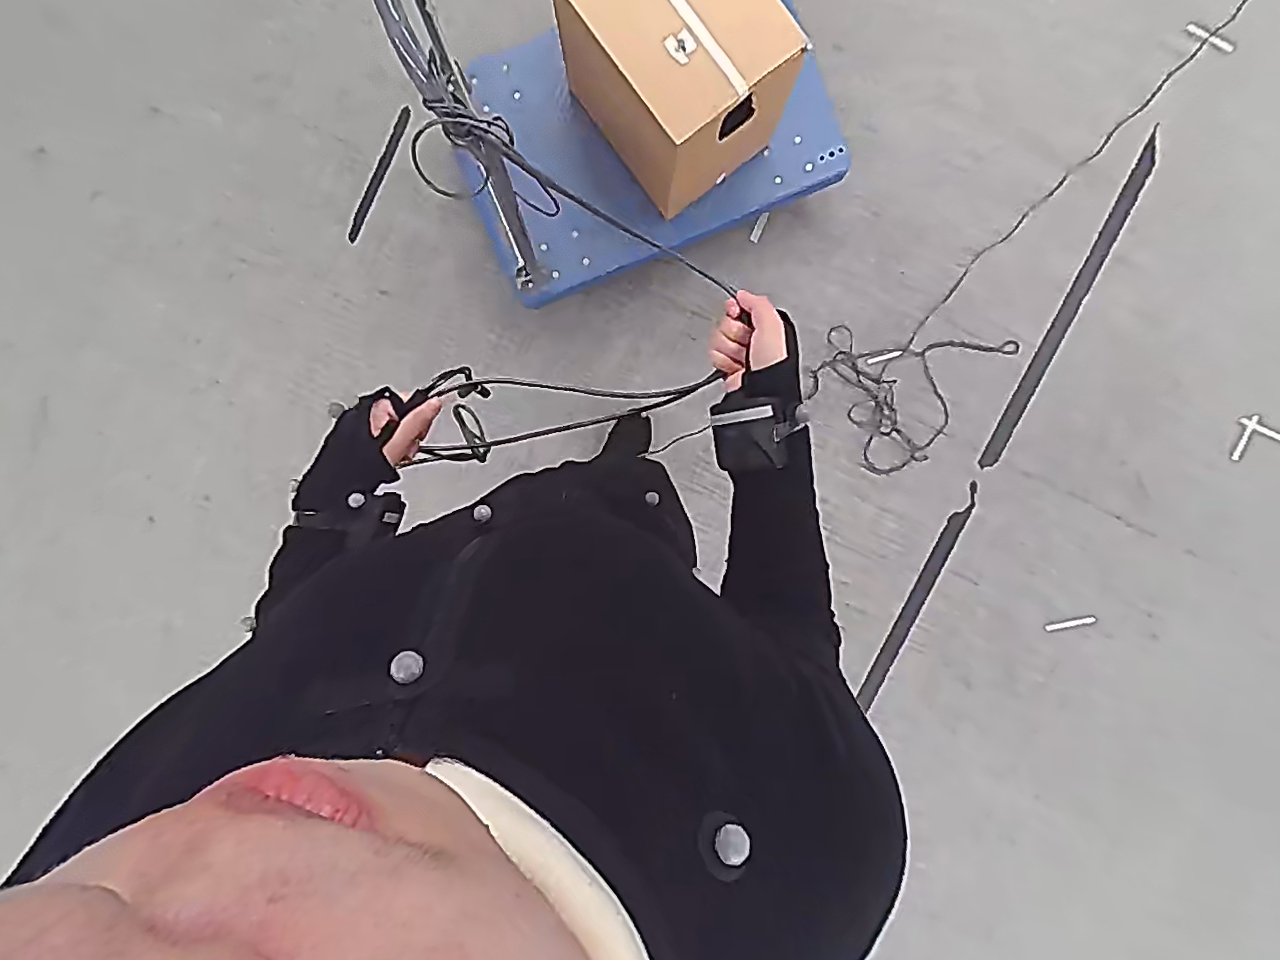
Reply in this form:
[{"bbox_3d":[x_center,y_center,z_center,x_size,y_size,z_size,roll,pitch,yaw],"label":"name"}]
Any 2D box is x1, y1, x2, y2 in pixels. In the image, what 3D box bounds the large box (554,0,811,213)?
[{"bbox_3d":[0.069,-0.869,1.126,0.320,0.320,0.408,-37,93,2],"label":"large box"}]
